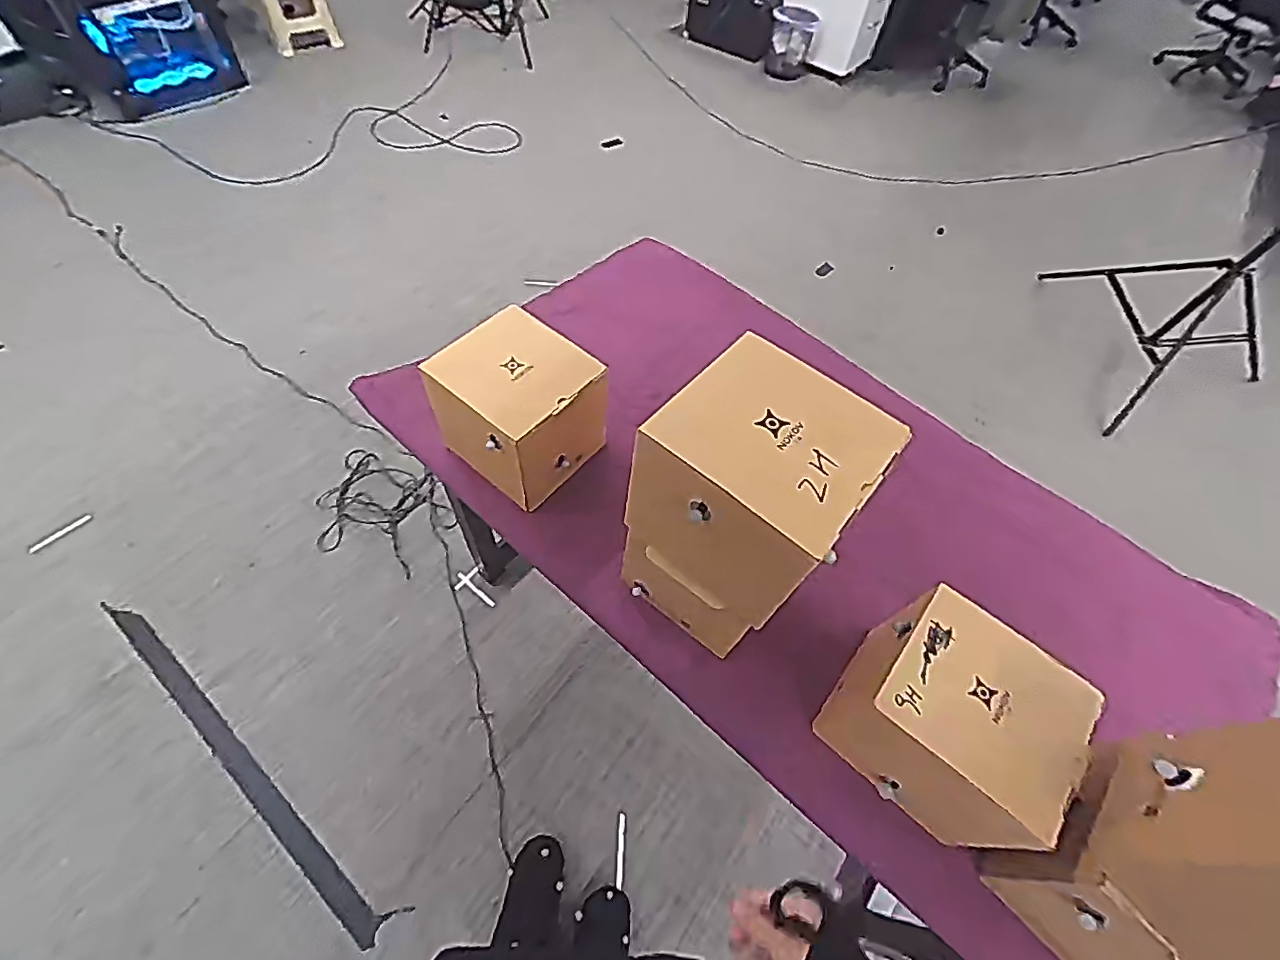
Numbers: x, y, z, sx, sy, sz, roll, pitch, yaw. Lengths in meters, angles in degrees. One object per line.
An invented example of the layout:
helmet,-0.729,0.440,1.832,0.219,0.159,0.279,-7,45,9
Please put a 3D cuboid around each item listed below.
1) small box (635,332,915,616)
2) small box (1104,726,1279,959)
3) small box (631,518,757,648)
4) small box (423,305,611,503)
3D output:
small box,0.111,0.001,0.516,0.179,0.176,0.168,38,62,16
small box,0.499,0.291,0.377,0.168,0.176,0.179,-31,64,-25
small box,0.101,0.076,0.663,0.168,0.176,0.179,35,60,15
small box,-0.161,-0.099,0.745,0.179,0.176,0.168,36,61,15
